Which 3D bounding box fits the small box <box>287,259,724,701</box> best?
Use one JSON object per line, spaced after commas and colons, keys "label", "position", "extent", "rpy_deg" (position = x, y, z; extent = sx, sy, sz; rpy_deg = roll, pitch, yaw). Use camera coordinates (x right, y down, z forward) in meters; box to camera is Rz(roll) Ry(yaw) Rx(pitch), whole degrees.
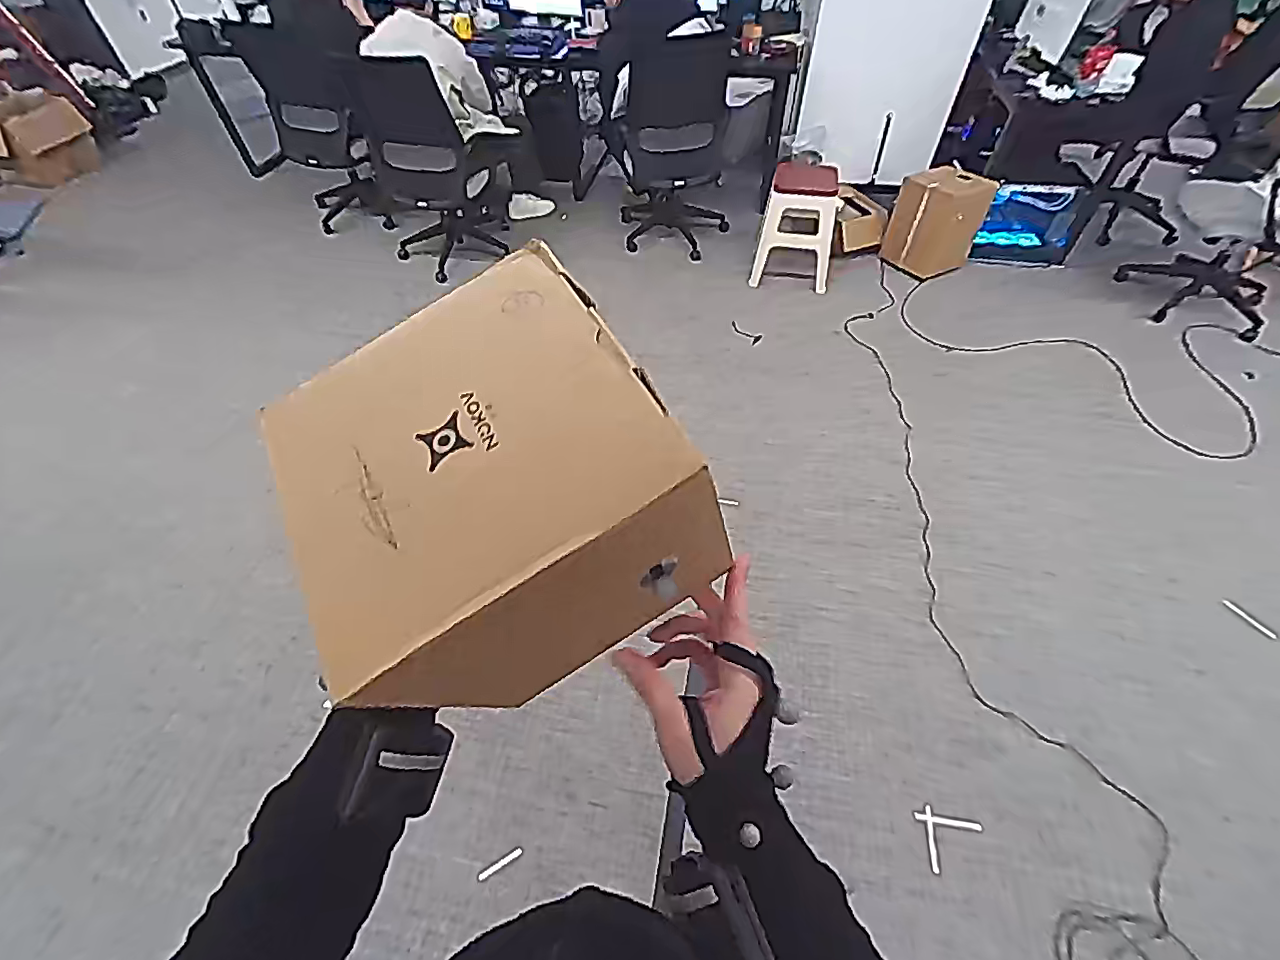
{"label": "small box", "position": [-0.062, 0.014, 0.331], "extent": [0.179, 0.176, 0.168], "rpy_deg": [-33, 63, -2]}
